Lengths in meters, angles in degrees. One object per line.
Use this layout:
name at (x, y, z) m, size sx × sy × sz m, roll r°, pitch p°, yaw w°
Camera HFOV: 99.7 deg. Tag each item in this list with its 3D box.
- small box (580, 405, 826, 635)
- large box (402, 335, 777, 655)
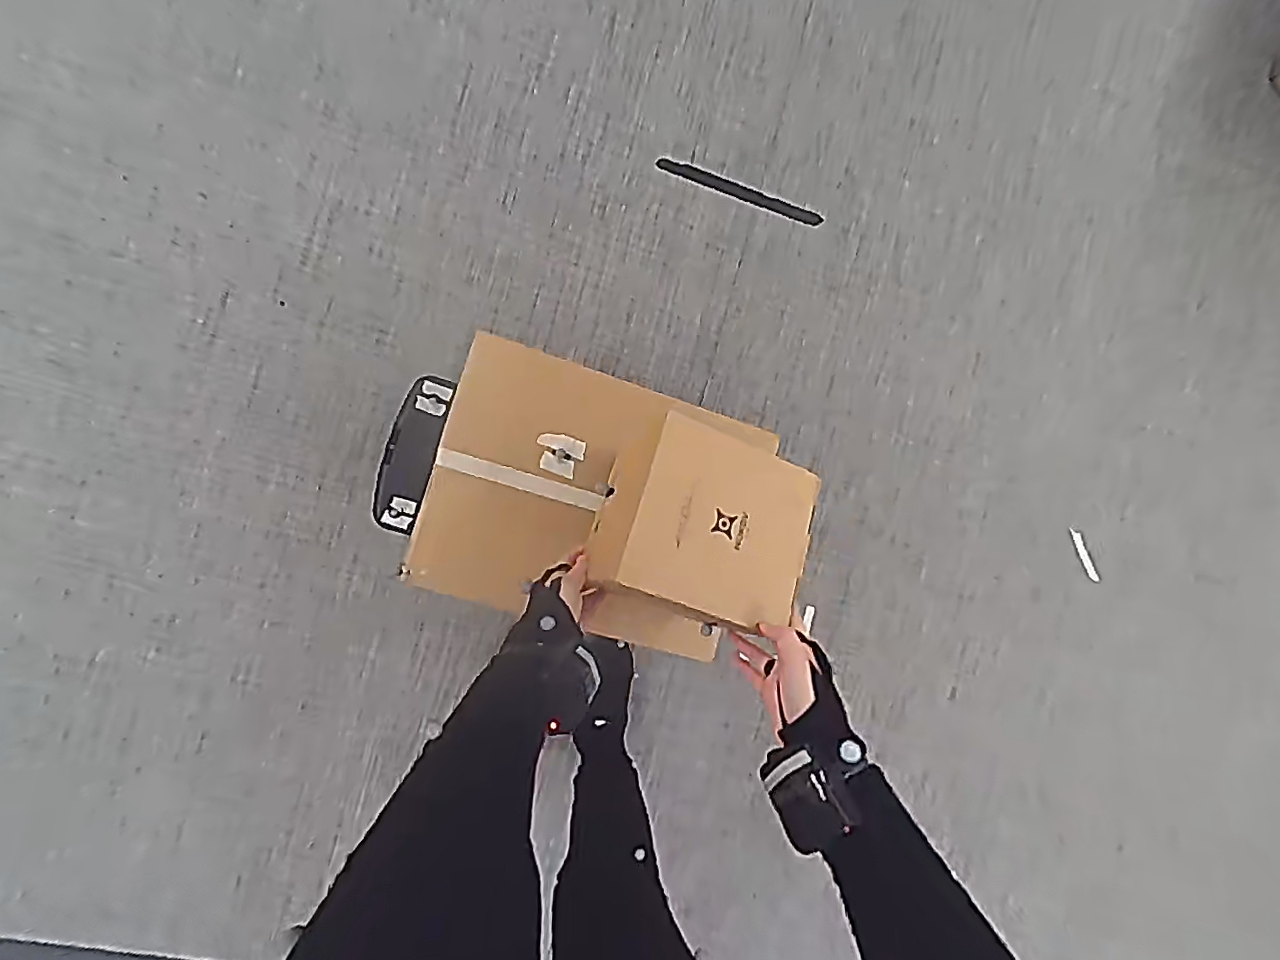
small box at (0.056, 0.048, 0.563) m, size 0.179 × 0.176 × 0.168 m, roll 22°, pitch 74°, yaw -14°
large box at (-0.071, 0.022, 0.812) m, size 0.408 × 0.320 × 0.320 m, roll 17°, pitch 88°, yaw -9°
